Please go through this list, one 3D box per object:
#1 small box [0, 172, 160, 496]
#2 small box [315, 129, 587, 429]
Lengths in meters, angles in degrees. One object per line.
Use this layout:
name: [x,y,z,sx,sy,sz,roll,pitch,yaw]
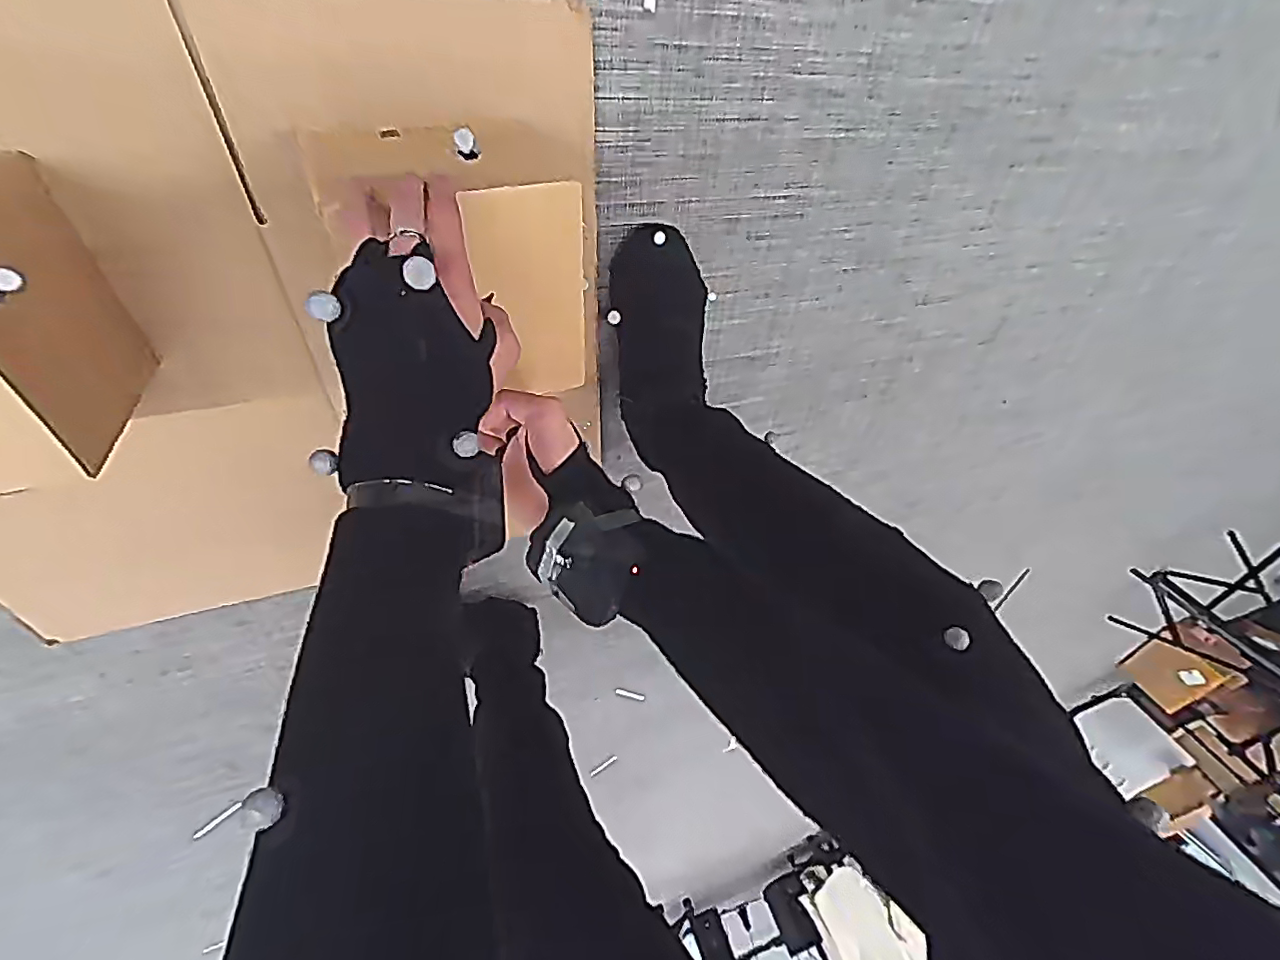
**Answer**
small box: [-0.485,-0.100,0.368,0.168,0.176,0.179,-12,134,-15]
small box: [-0.152,-0.176,0.453,0.168,0.176,0.179,-17,140,-19]
